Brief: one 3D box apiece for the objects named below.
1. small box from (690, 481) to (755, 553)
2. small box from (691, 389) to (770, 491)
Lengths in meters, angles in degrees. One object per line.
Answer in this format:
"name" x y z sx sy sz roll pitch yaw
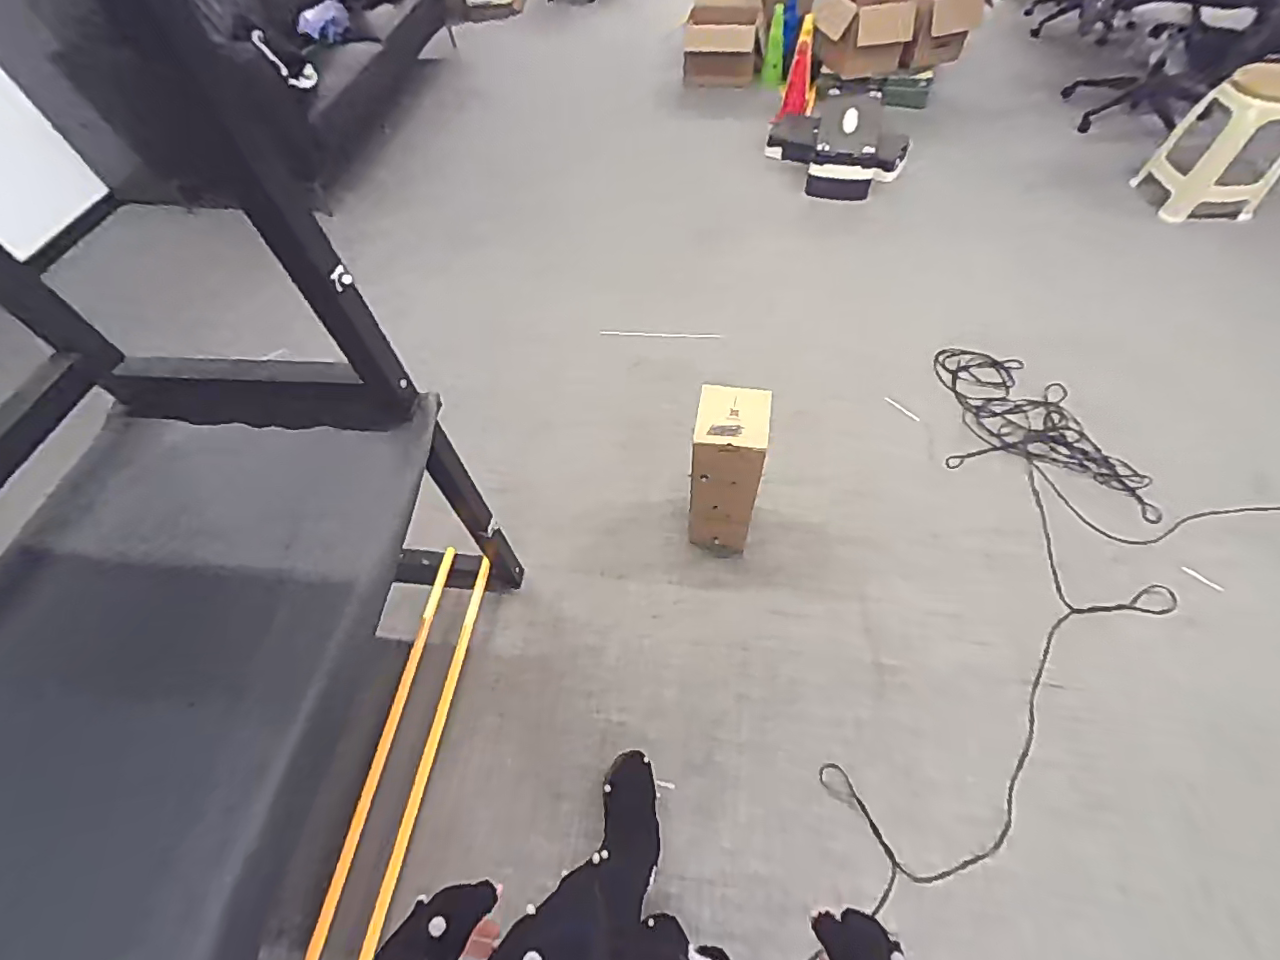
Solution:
"small box" 0.239 0.089 1.572 0.168 0.176 0.179 9 59 11
"small box" 0.216 -0.093 1.301 0.168 0.176 0.179 7 57 9
